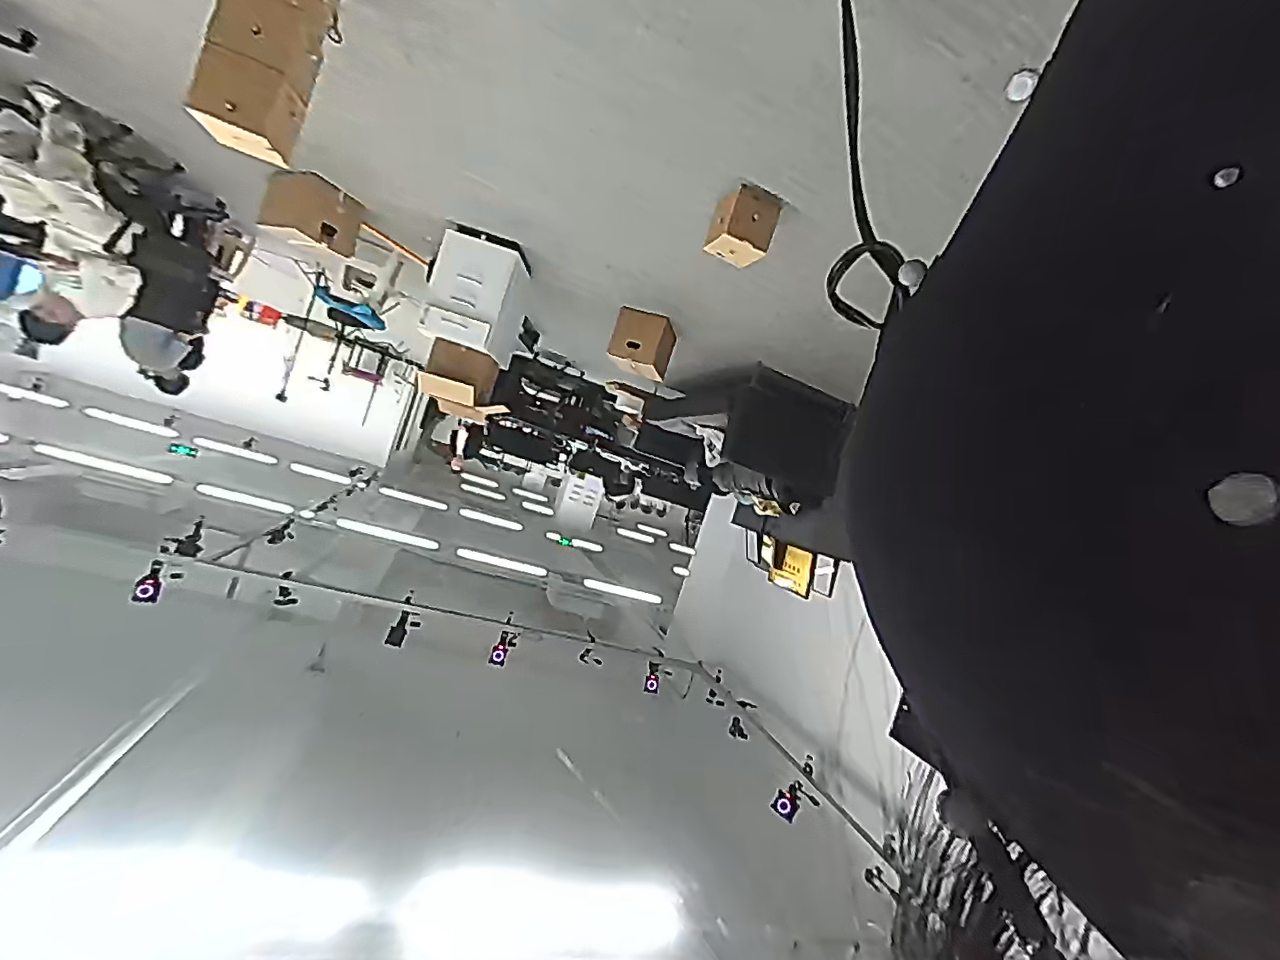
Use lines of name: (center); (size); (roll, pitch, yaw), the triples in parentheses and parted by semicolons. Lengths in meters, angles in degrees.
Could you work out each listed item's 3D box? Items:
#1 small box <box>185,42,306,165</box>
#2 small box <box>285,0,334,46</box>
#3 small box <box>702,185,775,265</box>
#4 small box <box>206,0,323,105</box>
small box: (-0.991, -0.953, 1.372); (0.179, 0.176, 0.168); (17, 180, -14)
small box: (-0.895, -1.265, 1.359); (0.179, 0.176, 0.168); (18, 179, -12)
small box: (0.339, -0.865, 1.840); (0.168, 0.176, 0.179); (18, 180, -20)
small box: (-0.946, -1.109, 1.377); (0.179, 0.176, 0.168); (17, -179, -15)
